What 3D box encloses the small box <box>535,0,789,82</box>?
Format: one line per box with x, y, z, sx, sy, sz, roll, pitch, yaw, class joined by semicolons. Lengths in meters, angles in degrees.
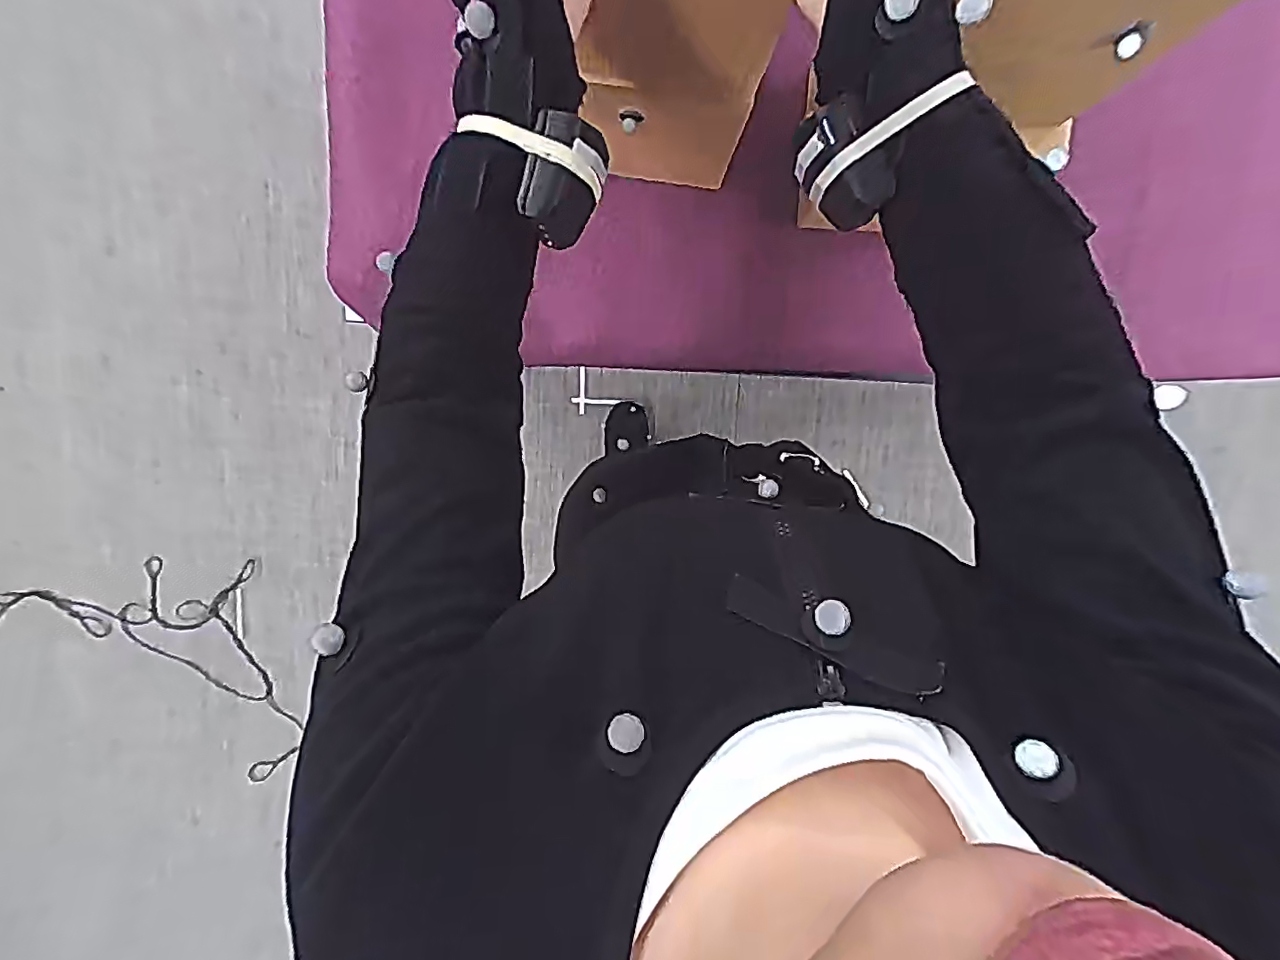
0.026;-0.393;0.338;0.179;0.176;0.168;11;96;-3;small box

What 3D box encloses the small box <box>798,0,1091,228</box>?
0.267;-0.353;0.509;0.179;0.176;0.168;3;96;-1;small box

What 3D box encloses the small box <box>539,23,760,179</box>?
0.014;-0.406;0.499;0.179;0.176;0.168;7;96;-3;small box
